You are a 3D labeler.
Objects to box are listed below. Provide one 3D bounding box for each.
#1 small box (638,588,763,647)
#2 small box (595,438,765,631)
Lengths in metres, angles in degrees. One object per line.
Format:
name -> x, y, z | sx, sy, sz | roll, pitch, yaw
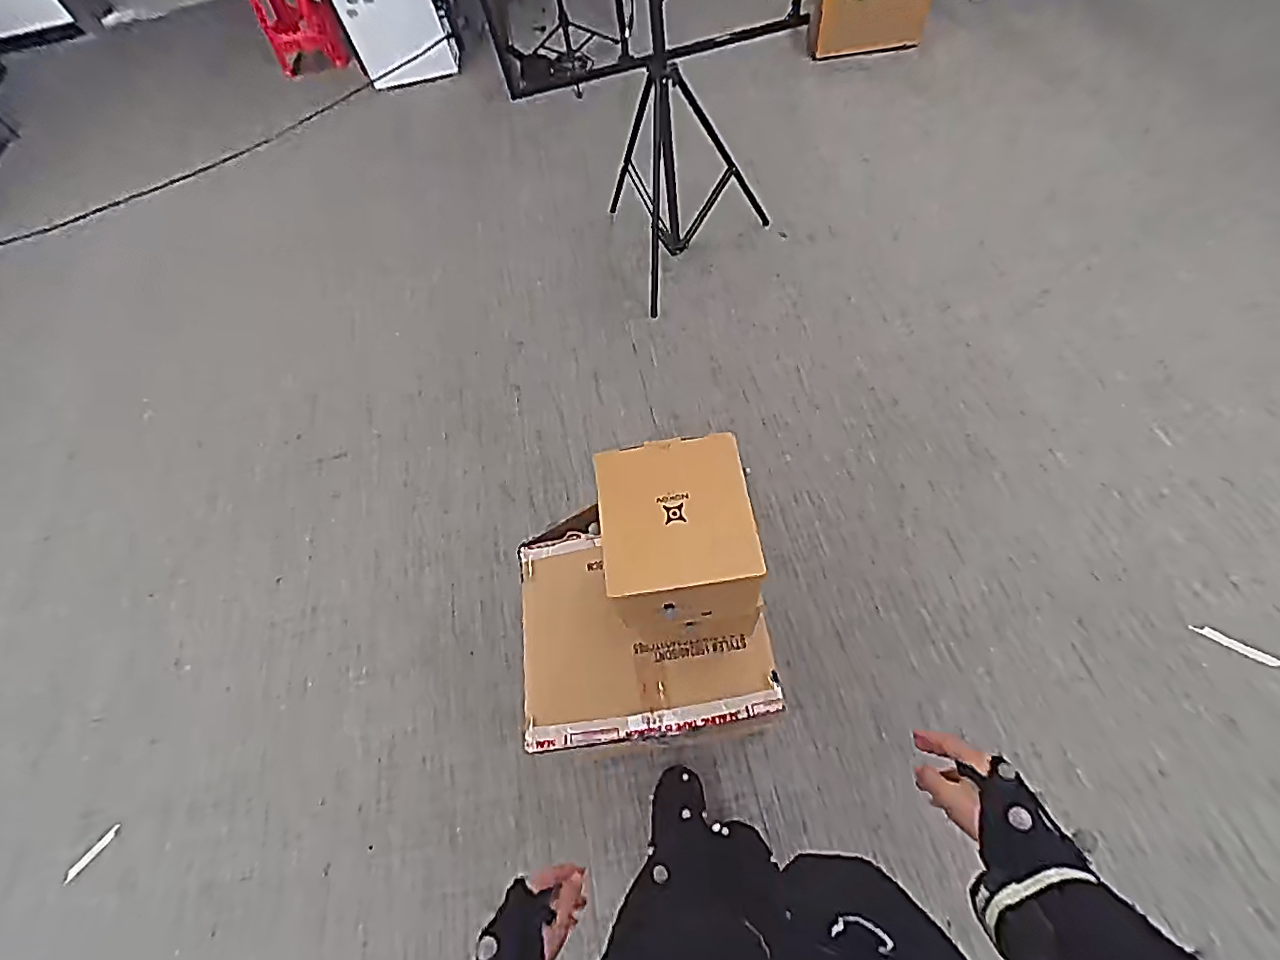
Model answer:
small box -> 0.075, 0.143, 0.799 | 0.179, 0.176, 0.168 | -7, 63, 3
small box -> 0.047, 0.076, 0.653 | 0.168, 0.176, 0.179 | -10, 61, 2
